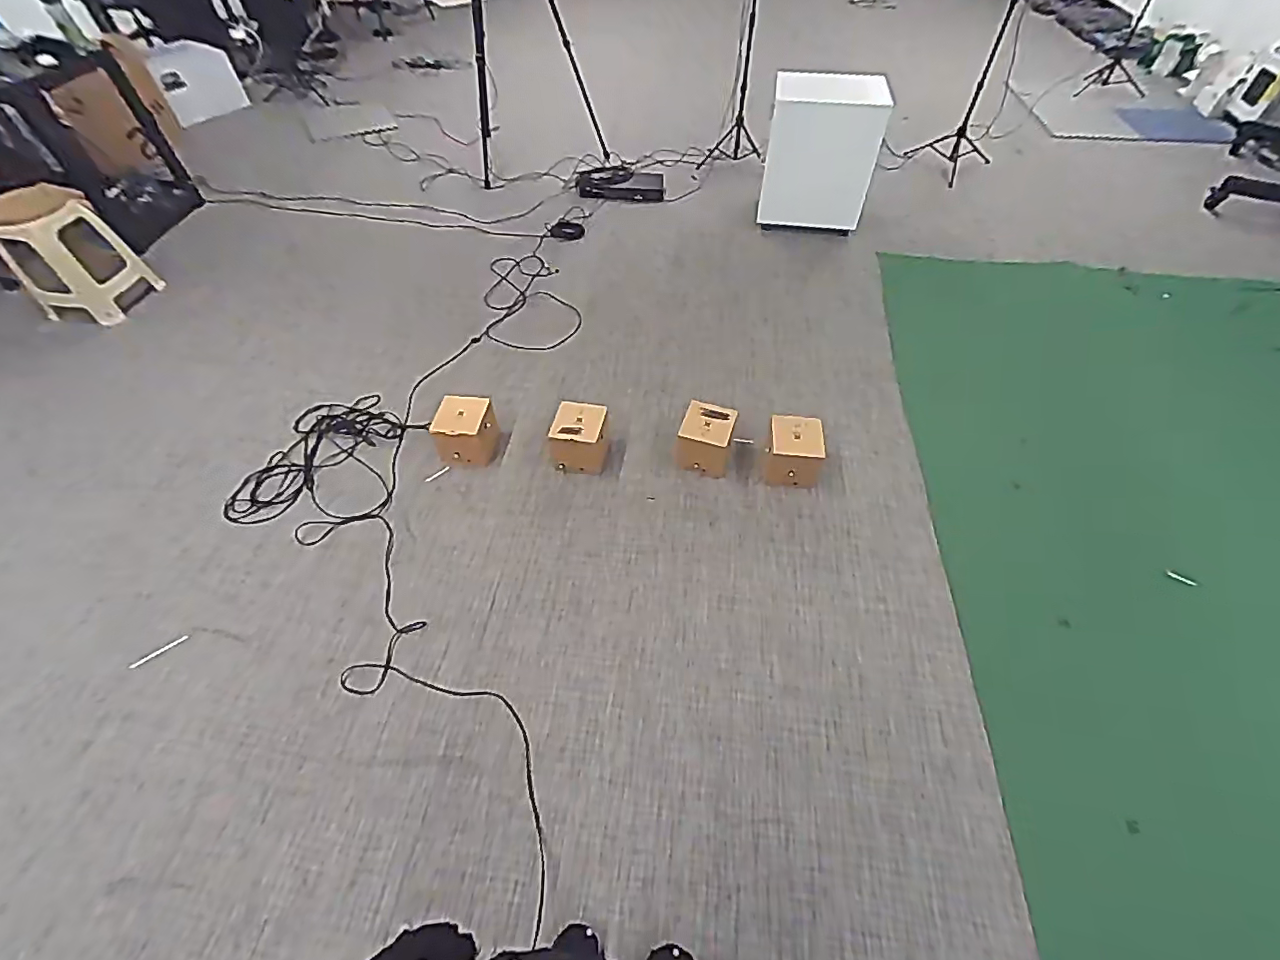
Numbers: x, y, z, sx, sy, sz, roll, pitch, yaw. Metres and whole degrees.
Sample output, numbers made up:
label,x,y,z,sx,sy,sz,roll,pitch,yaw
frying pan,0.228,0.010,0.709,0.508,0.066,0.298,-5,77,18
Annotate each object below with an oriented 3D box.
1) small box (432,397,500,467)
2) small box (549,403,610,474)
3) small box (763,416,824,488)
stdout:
label,x,y,z,sx,sy,sz,roll,pitch,yaw
small box,-0.603,-0.168,1.903,0.168,0.176,0.179,4,53,5
small box,-0.202,-0.140,1.873,0.168,0.176,0.179,8,52,8
small box,0.514,-0.091,1.827,0.168,0.176,0.179,5,53,4
